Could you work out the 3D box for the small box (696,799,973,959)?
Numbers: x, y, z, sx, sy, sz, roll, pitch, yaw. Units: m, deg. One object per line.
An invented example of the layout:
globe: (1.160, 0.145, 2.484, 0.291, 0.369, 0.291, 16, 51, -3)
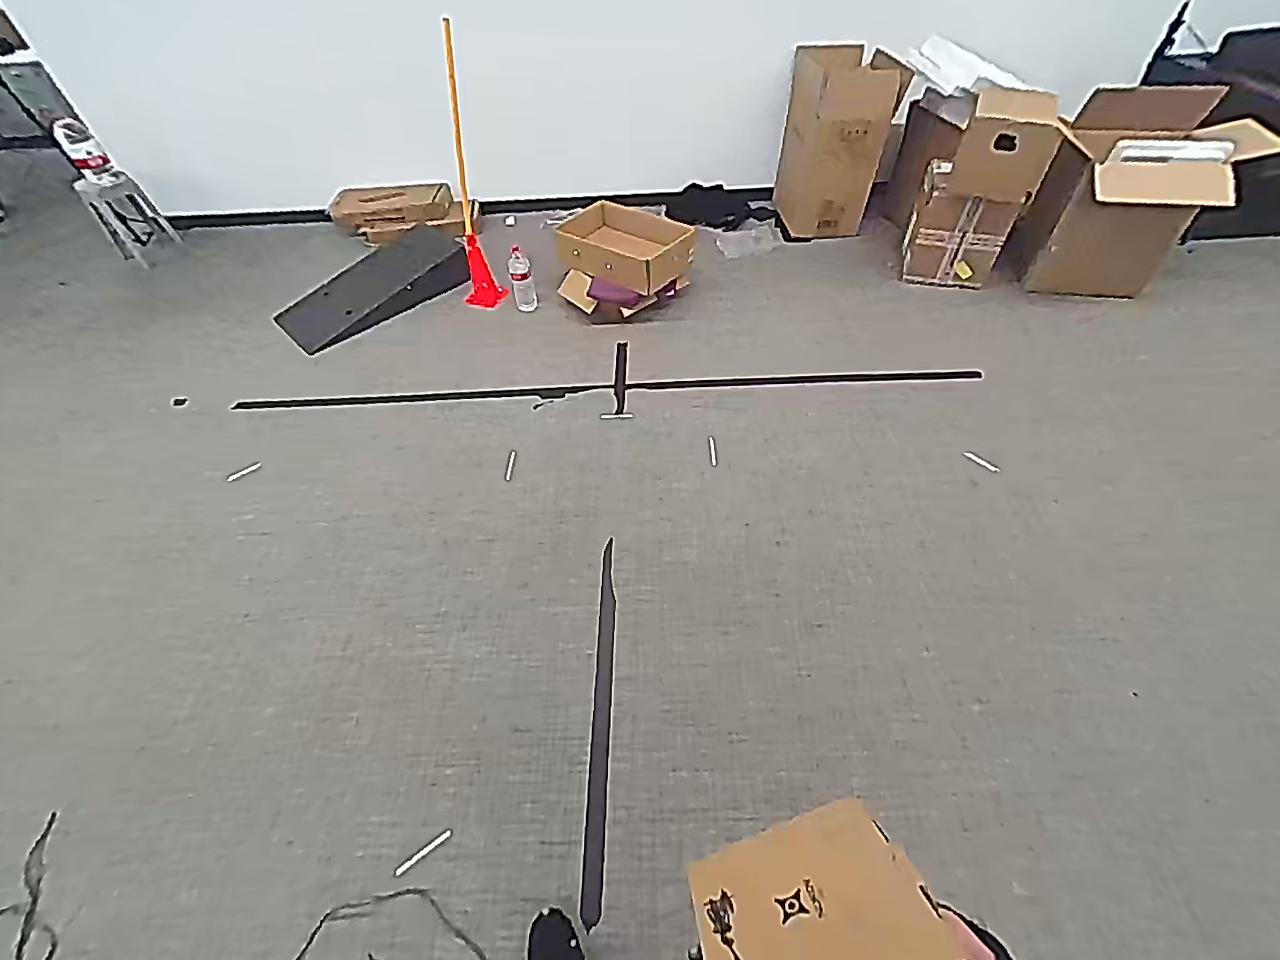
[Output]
small box: (0.164, 0.417, 0.444, 0.179, 0.168, 0.176, -20, 94, -2)
